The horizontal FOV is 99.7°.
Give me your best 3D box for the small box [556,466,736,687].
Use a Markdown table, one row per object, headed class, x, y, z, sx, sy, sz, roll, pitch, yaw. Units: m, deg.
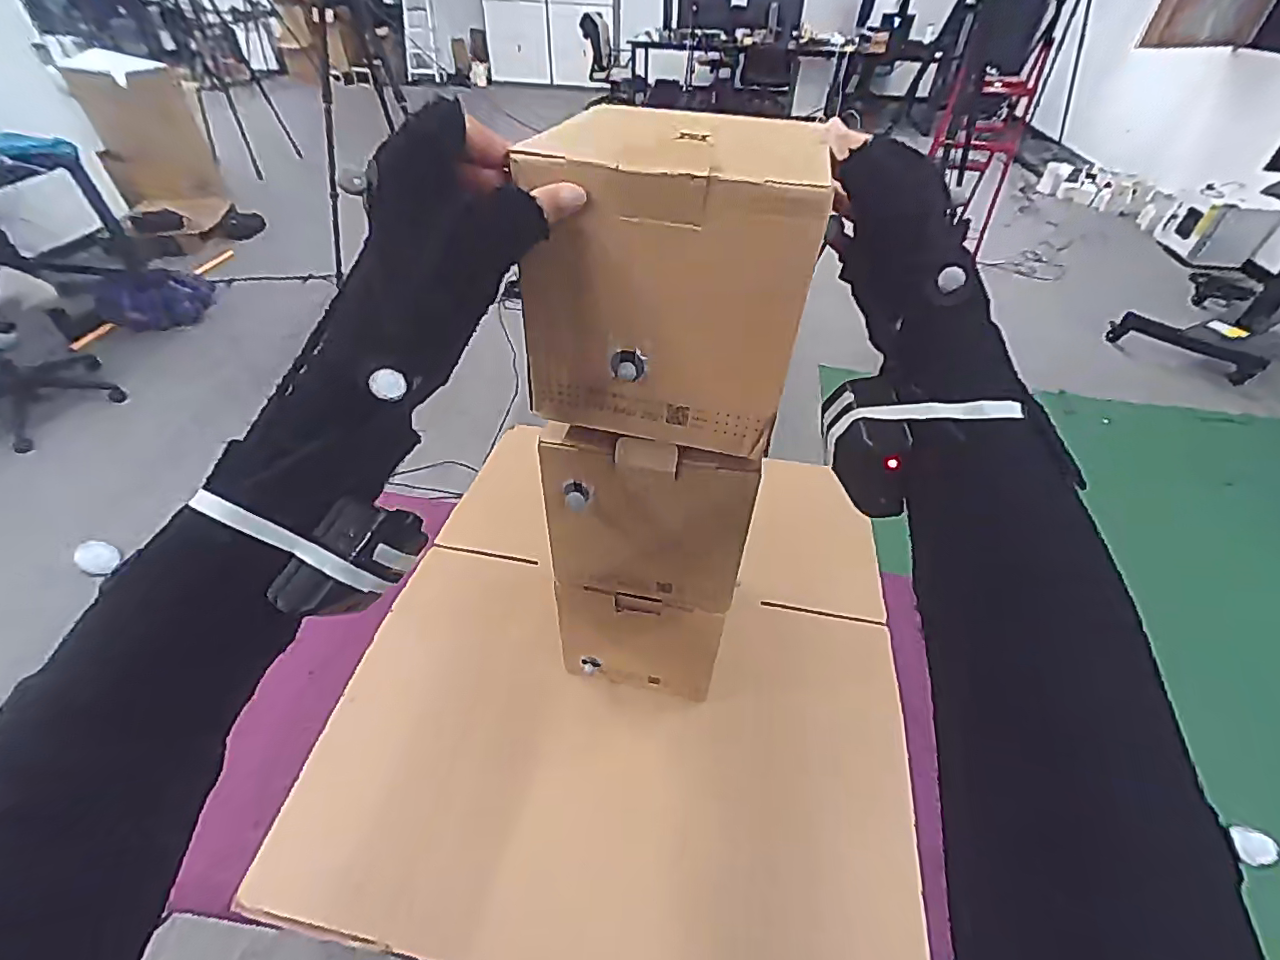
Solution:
| class | x | y | z | sx | sy | sz | roll | pitch | yaw |
| --- | --- | --- | --- | --- | --- | --- | --- | --- | --- |
| small box | 0.013 | 0.110 | 0.611 | 0.168 | 0.176 | 0.179 | 7 | 44 | 5 |
